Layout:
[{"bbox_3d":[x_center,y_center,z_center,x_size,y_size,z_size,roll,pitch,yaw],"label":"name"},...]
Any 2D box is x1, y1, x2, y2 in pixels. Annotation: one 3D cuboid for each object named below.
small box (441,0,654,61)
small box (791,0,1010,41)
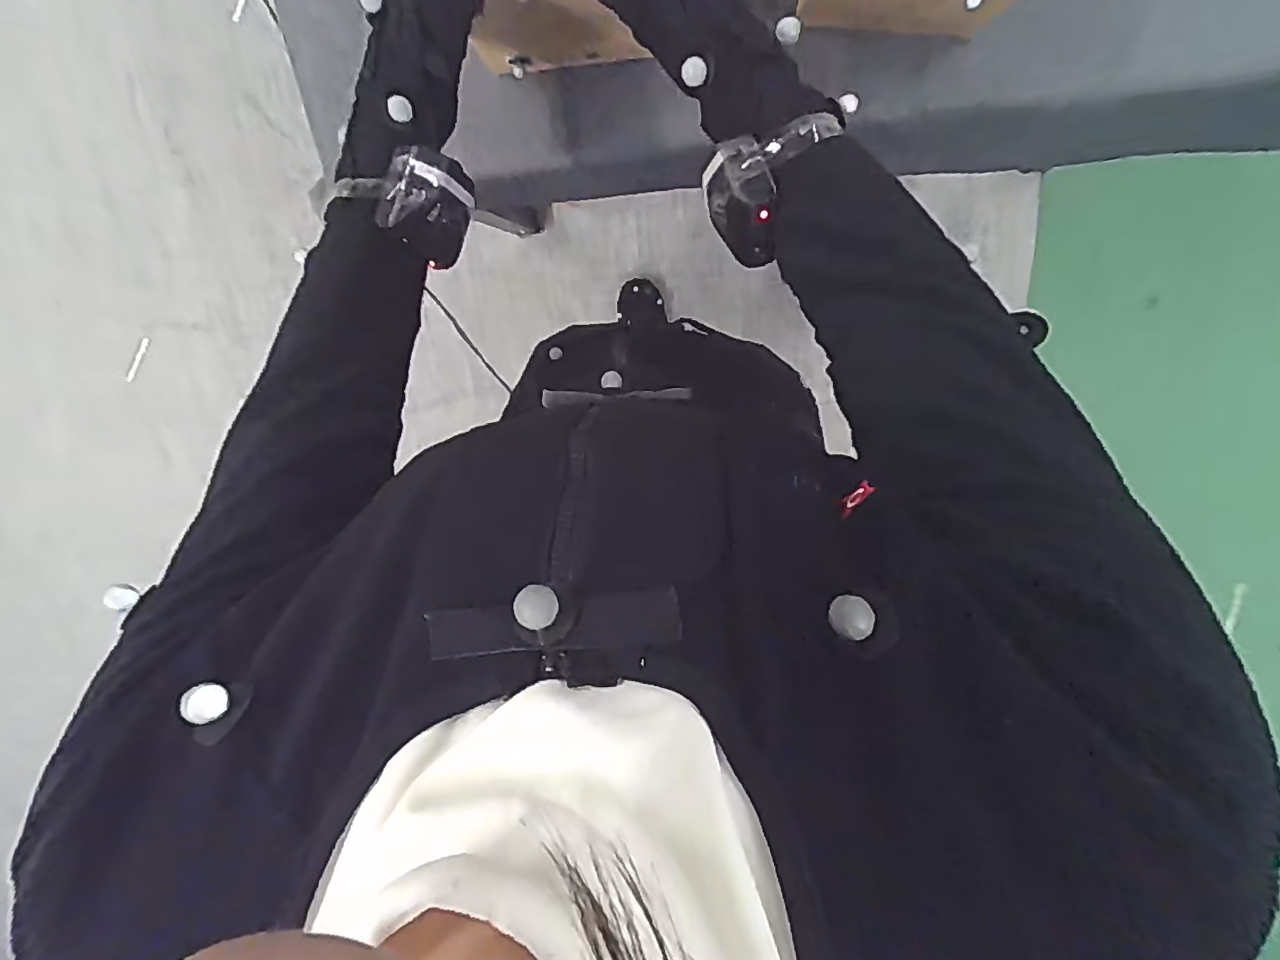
[{"bbox_3d":[-0.076,-0.474,0.440,0.168,0.176,0.179,-3,108,3],"label":"small box"},{"bbox_3d":[0.235,-0.482,0.427,0.179,0.176,0.168,5,109,1],"label":"small box"}]
